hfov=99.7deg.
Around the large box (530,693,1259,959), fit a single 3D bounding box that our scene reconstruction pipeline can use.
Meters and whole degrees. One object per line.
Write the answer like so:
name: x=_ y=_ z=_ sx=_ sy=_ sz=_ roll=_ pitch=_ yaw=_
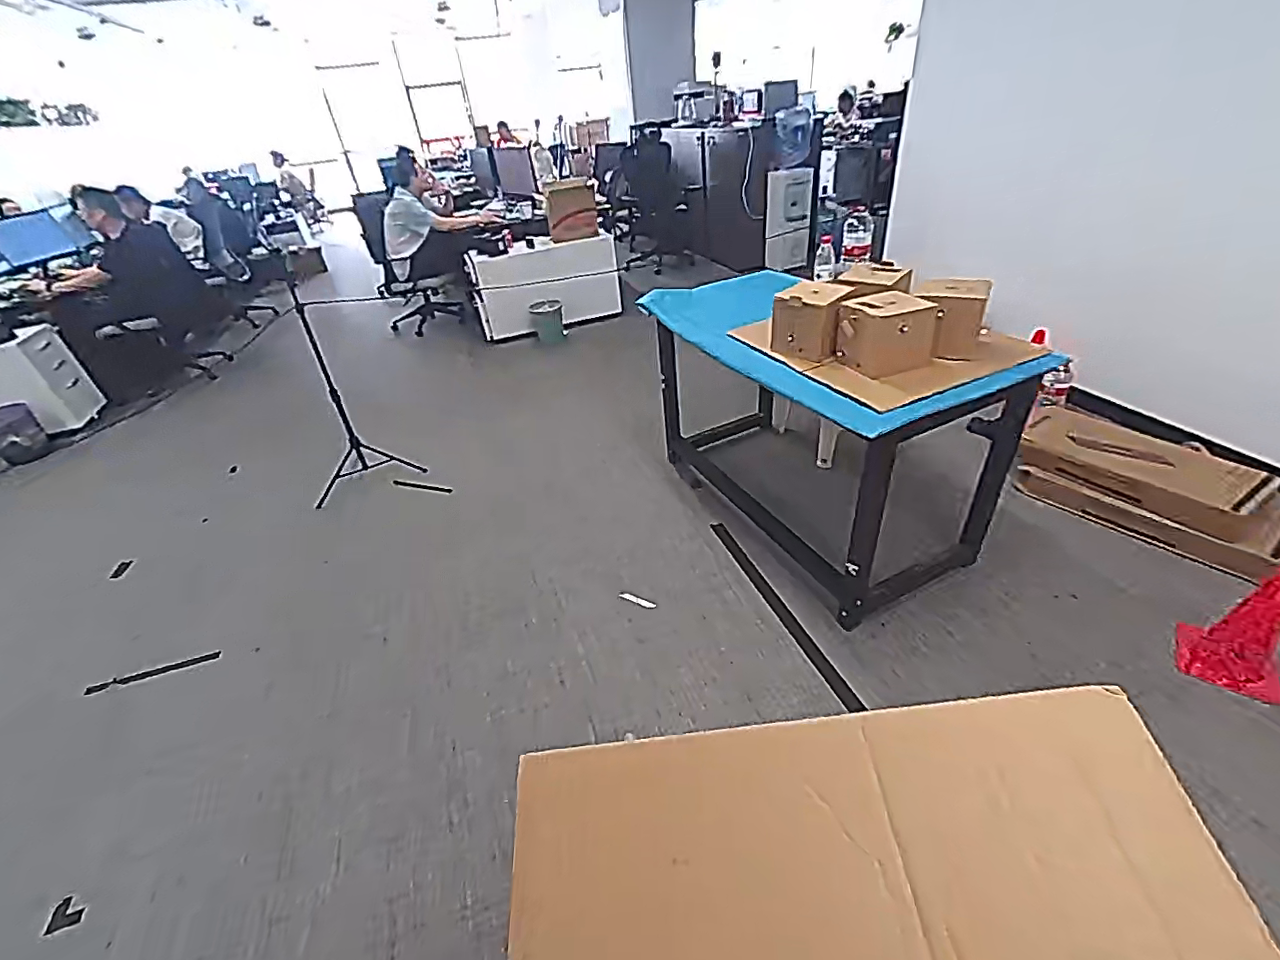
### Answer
large box: x=0.154 y=0.386 z=0.408 sx=0.408 sy=0.320 sz=0.320 roll=-10 pitch=54 yaw=6
